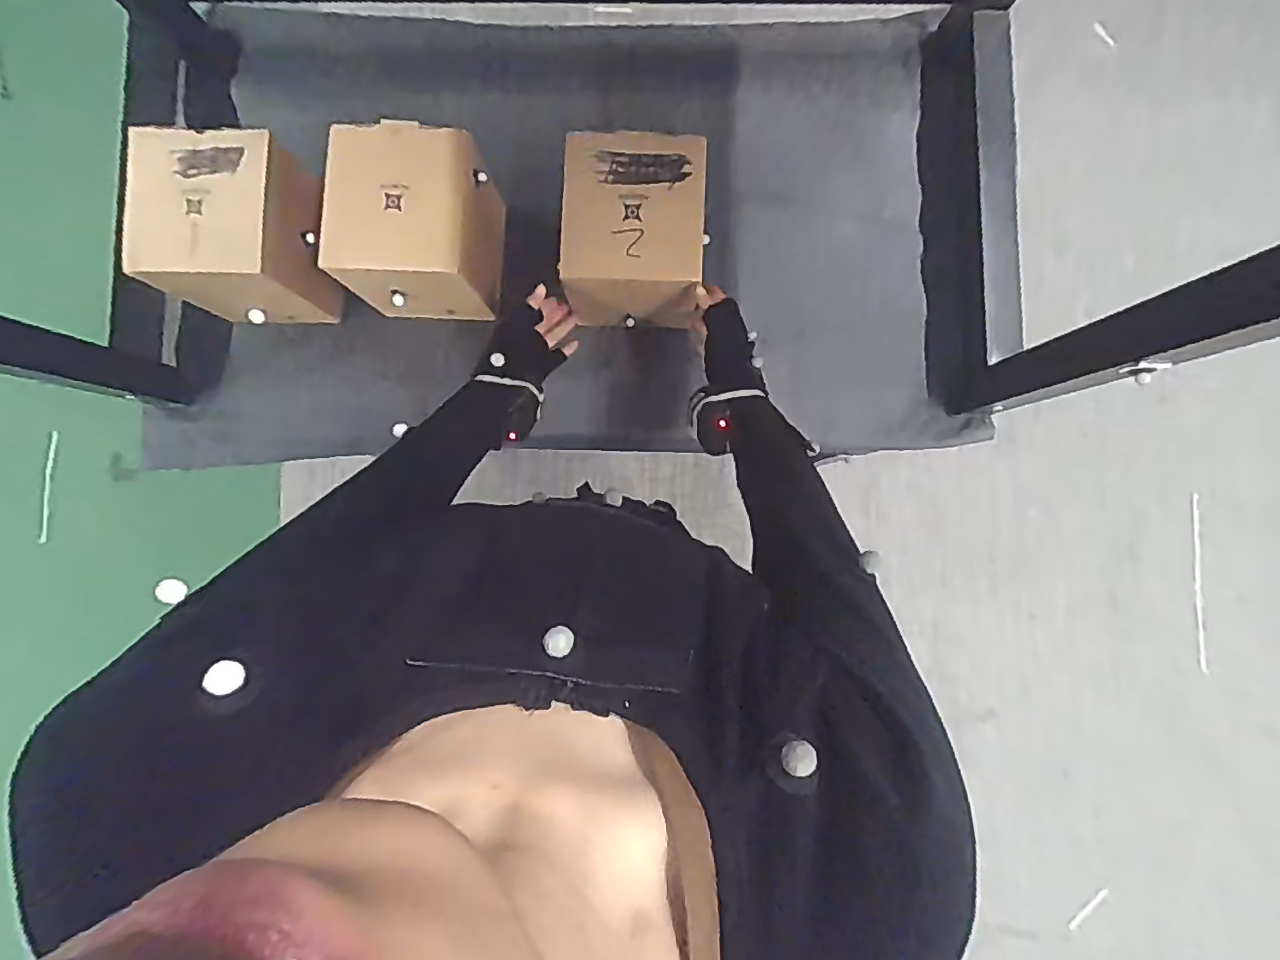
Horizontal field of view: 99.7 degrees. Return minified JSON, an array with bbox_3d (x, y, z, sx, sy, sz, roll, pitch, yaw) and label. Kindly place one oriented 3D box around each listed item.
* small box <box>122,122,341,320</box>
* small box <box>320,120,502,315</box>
[{"bbox_3d":[-0.513,-0.326,0.708,0.168,0.176,0.179,1,87,0],"label":"small box"},{"bbox_3d":[-0.286,-0.330,0.710,0.168,0.176,0.179,2,86,0],"label":"small box"}]
